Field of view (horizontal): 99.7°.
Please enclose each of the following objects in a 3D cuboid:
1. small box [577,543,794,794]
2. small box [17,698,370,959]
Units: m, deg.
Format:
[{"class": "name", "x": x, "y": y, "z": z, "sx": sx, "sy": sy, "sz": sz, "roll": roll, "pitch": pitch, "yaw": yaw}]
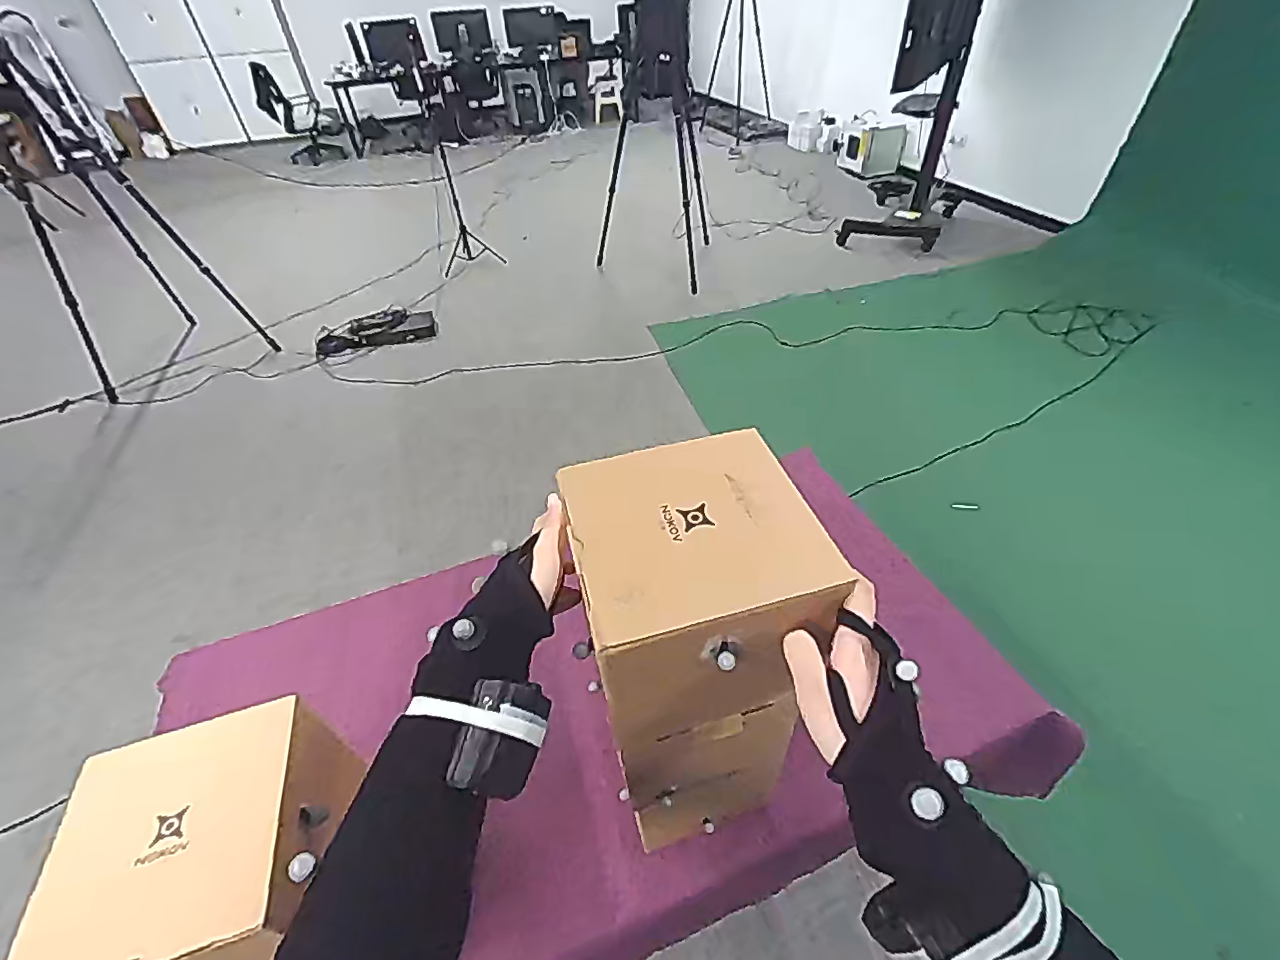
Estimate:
[{"class": "small box", "x": 0.041, "y": 0.200, "z": 0.565, "sx": 0.168, "sy": 0.176, "sz": 0.179, "roll": -14, "pitch": 43, "yaw": -9}, {"class": "small box", "x": -0.354, "y": 0.330, "z": 0.472, "sx": 0.168, "sy": 0.176, "sz": 0.179, "roll": -15, "pitch": 45, "yaw": -11}]
